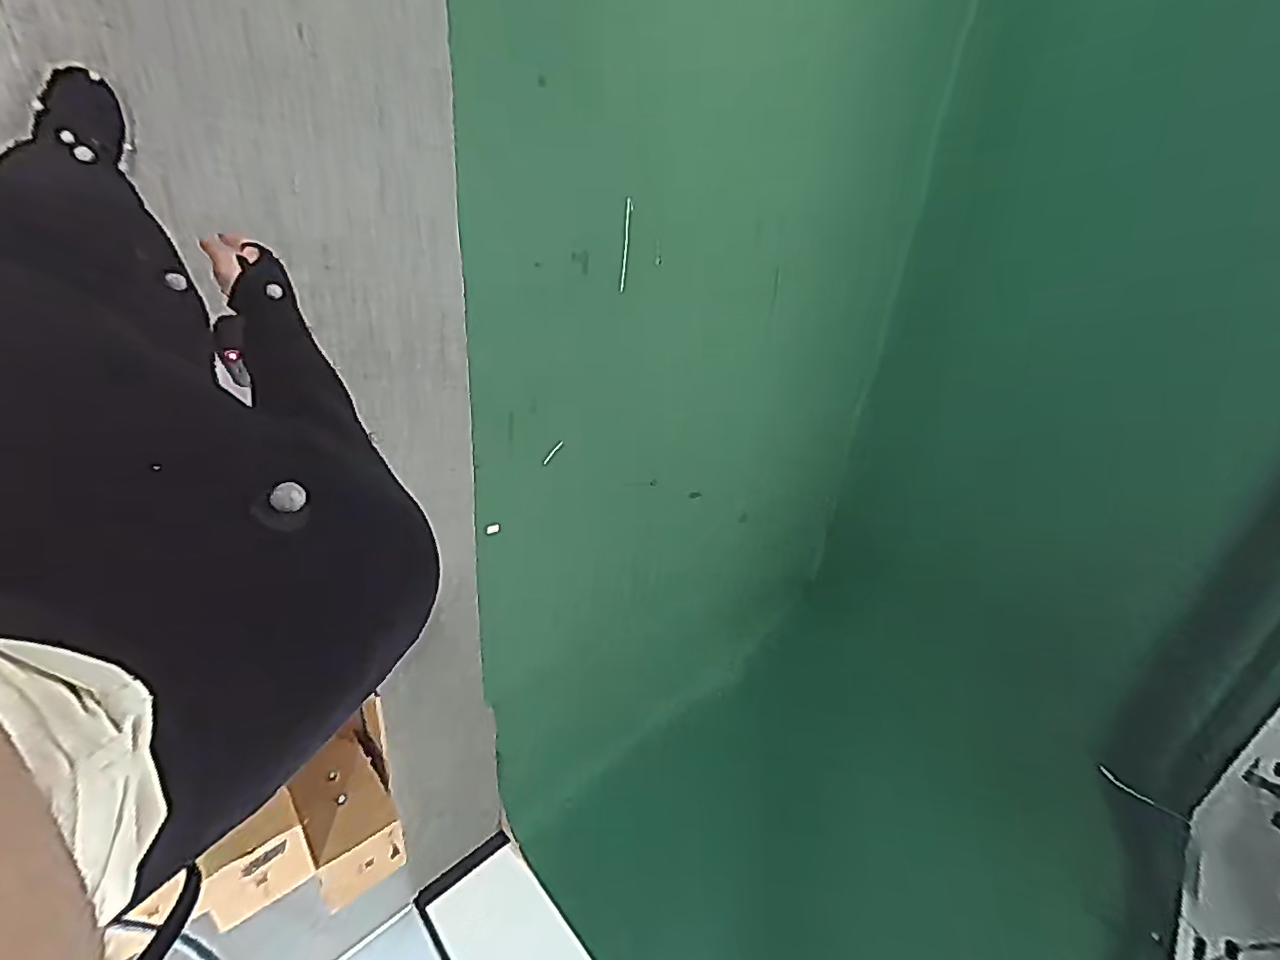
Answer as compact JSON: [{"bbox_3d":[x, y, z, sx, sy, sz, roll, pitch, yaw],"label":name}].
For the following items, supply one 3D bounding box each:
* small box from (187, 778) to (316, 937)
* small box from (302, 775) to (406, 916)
[{"bbox_3d":[-0.783,0.745,1.092,0.168,0.176,0.179,-19,125,-40],"label":"small box"},{"bbox_3d":[-0.675,0.848,1.271,0.179,0.176,0.168,-17,122,-40],"label":"small box"}]
